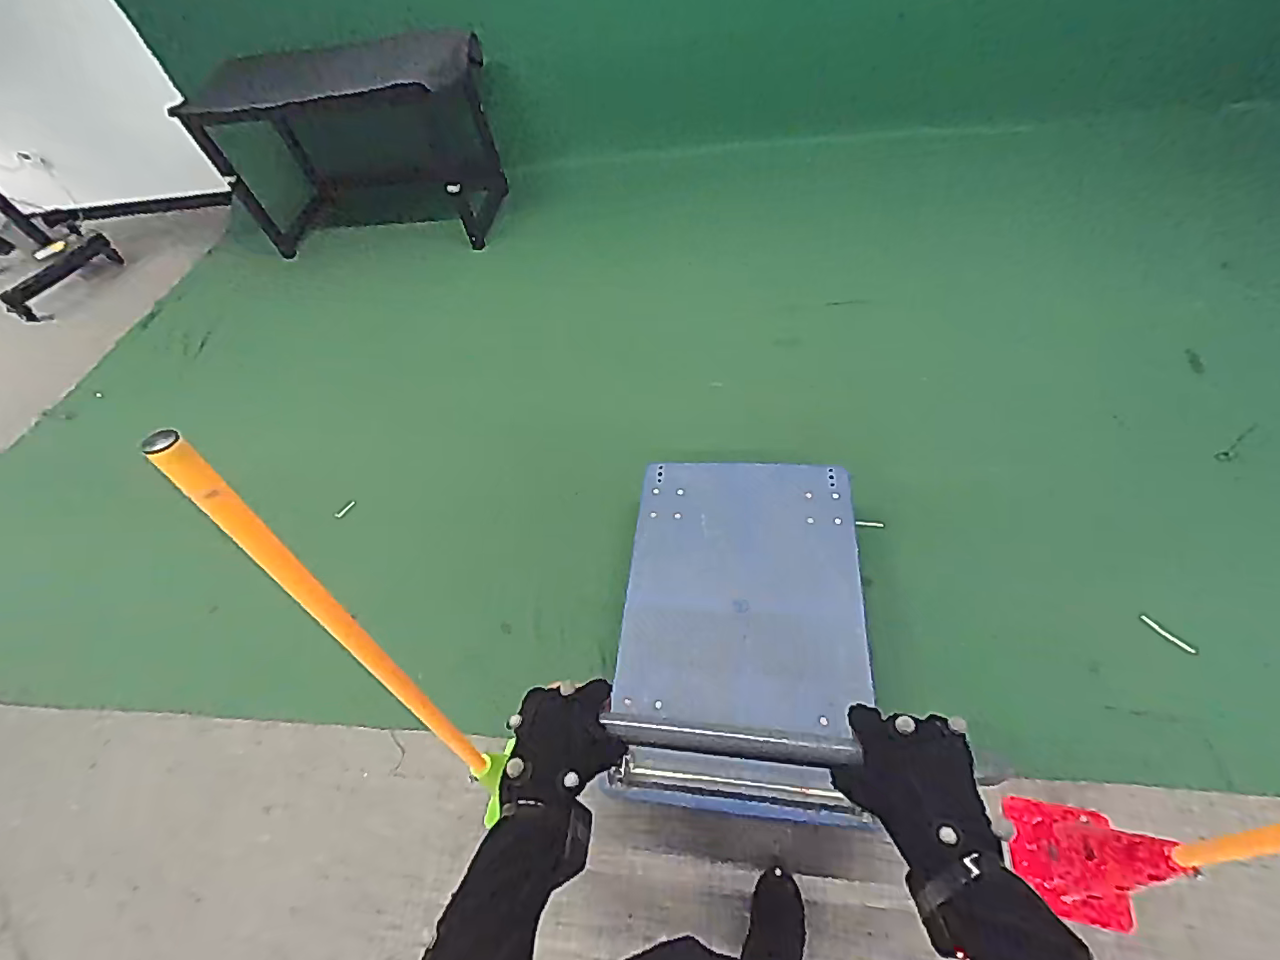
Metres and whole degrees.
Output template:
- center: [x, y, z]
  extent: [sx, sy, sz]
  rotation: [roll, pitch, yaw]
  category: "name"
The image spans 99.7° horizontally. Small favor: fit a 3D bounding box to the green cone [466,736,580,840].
- center: [-0.283, 0.640, 1.176]
  extent: [0.202, 0.368, 0.200]
  rotation: [3, 54, 13]
  category: "green cone"
